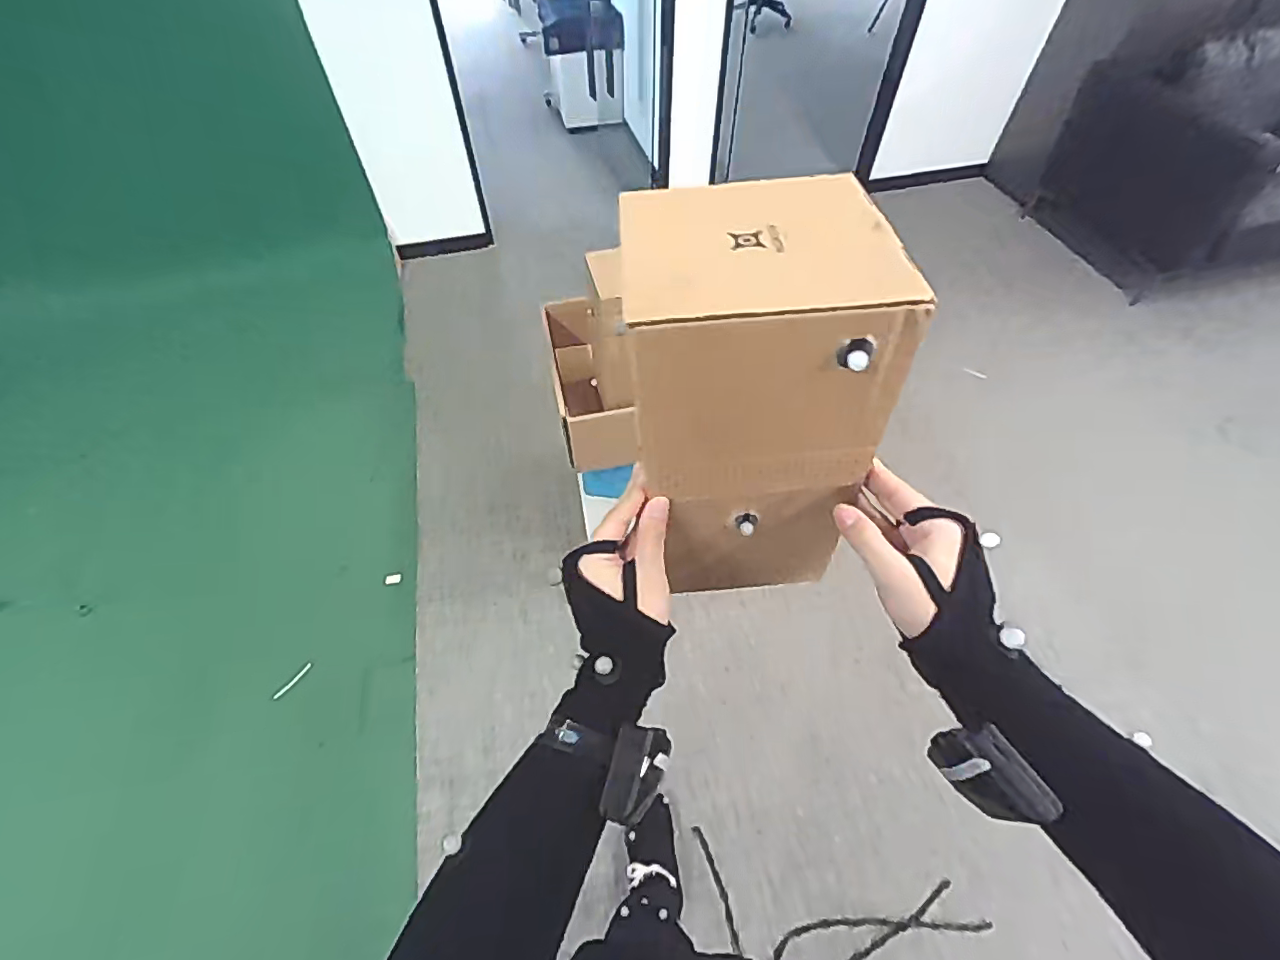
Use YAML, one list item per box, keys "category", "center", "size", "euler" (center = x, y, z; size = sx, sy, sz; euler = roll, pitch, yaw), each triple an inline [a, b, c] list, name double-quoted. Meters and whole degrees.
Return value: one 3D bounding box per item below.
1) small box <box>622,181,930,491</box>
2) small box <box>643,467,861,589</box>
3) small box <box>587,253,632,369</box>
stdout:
- category: "small box"
  center: [0.081, -0.104, 0.417]
  size: [0.179, 0.176, 0.168]
  euler: [-3, 50, 1]
- category: "small box"
  center: [0.093, -0.003, 0.542]
  size: [0.179, 0.176, 0.168]
  euler: [-4, 50, 1]
- category: "small box"
  center: [-0.004, -0.348, 1.110]
  size: [0.179, 0.176, 0.168]
  euler: [-11, 54, -9]
